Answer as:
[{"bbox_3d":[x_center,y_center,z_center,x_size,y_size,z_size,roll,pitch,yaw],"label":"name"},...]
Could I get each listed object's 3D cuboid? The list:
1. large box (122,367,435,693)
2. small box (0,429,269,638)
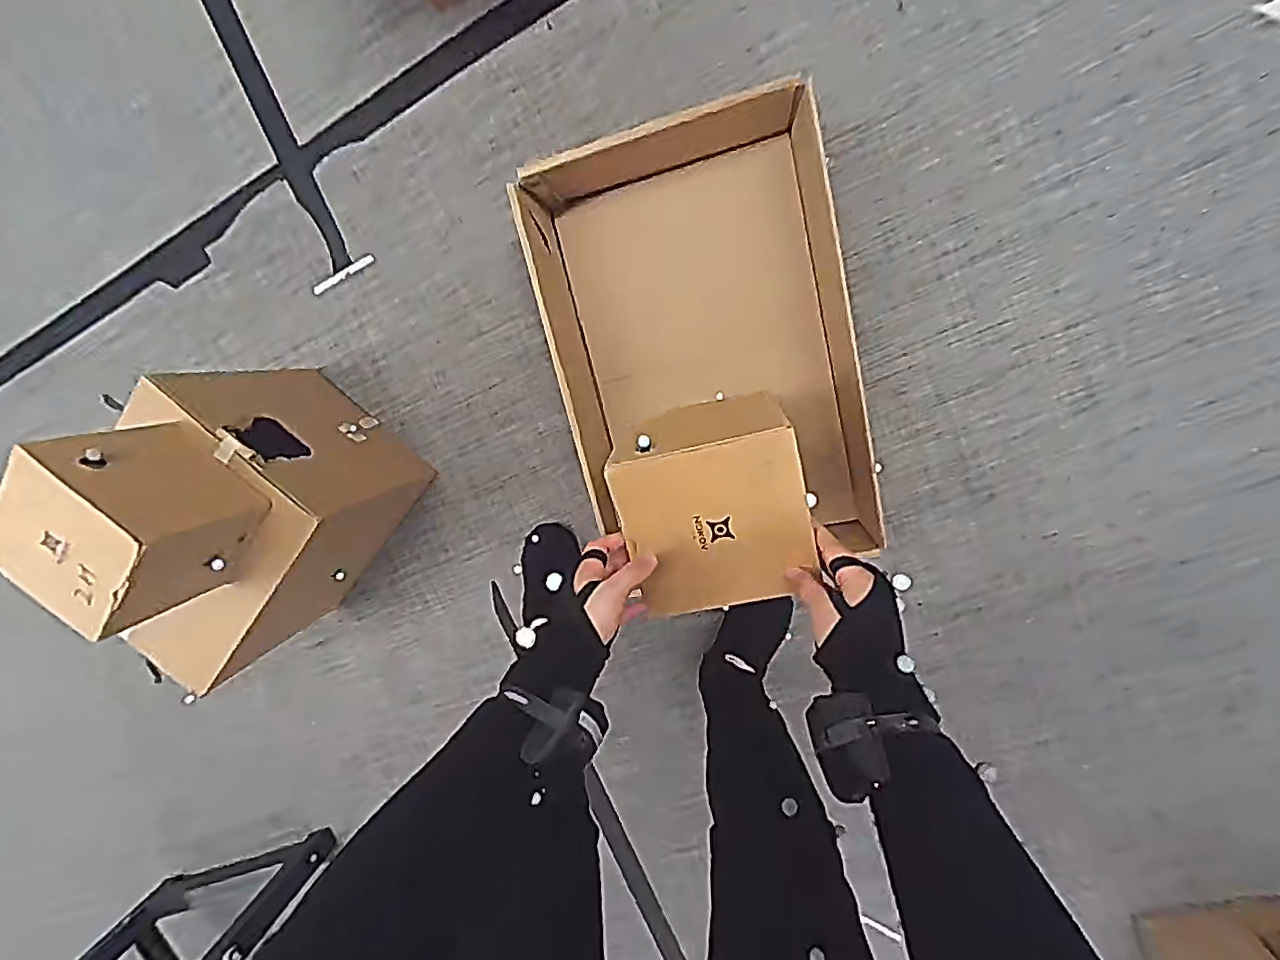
[{"bbox_3d":[-0.640,0.061,0.933,0.320,0.320,0.408,40,107,0],"label":"large box"},{"bbox_3d":[-0.622,0.051,0.672,0.179,0.176,0.168,39,107,-1],"label":"small box"}]
